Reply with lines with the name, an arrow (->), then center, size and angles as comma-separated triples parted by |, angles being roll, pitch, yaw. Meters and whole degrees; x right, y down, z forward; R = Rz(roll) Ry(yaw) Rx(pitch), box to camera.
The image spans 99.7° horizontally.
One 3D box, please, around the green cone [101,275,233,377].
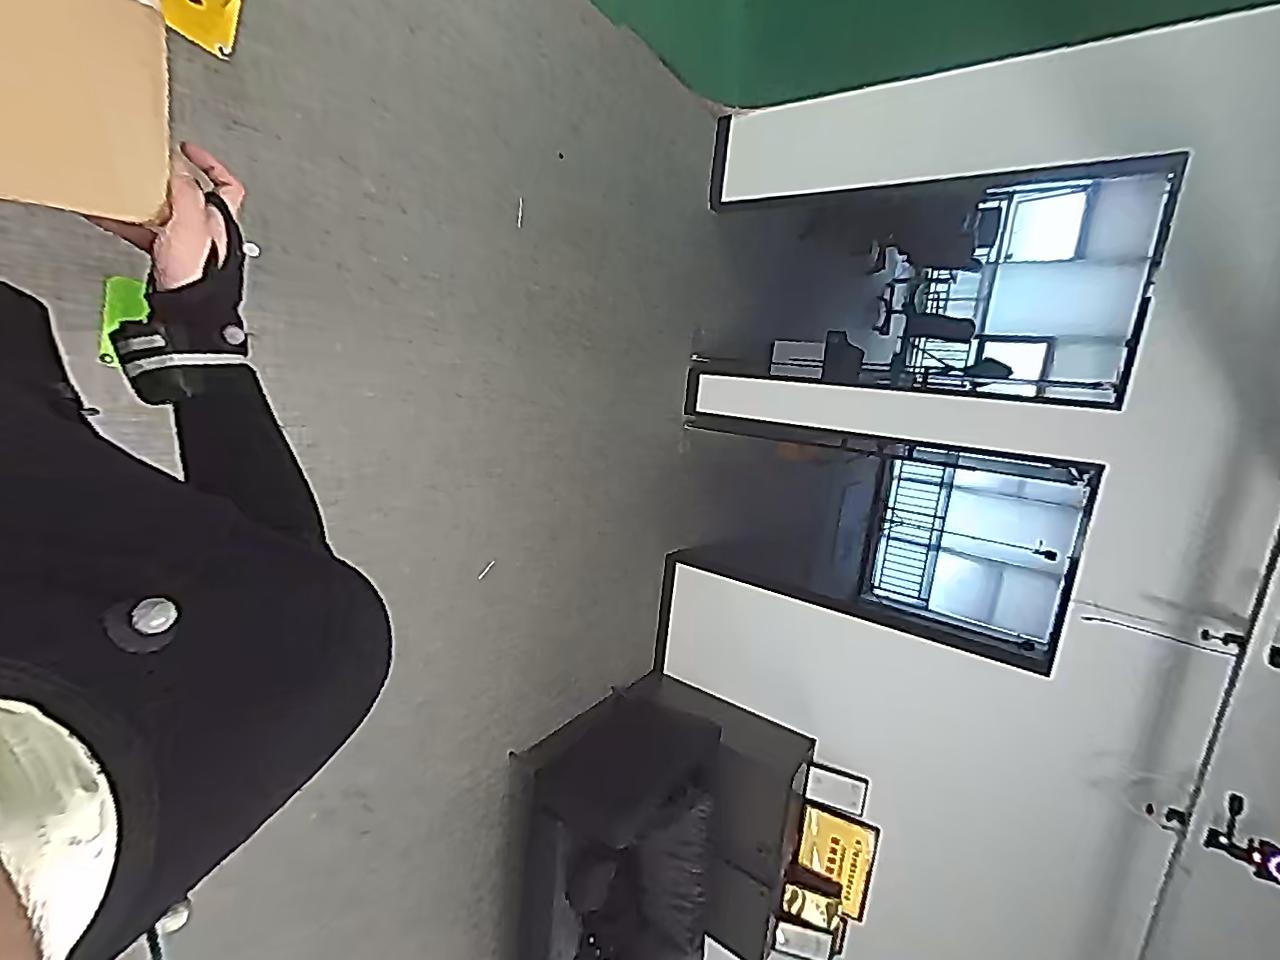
green cone -> -0.976, -0.326, 1.171 | 0.200, 0.368, 0.202 | 2, 98, -57
